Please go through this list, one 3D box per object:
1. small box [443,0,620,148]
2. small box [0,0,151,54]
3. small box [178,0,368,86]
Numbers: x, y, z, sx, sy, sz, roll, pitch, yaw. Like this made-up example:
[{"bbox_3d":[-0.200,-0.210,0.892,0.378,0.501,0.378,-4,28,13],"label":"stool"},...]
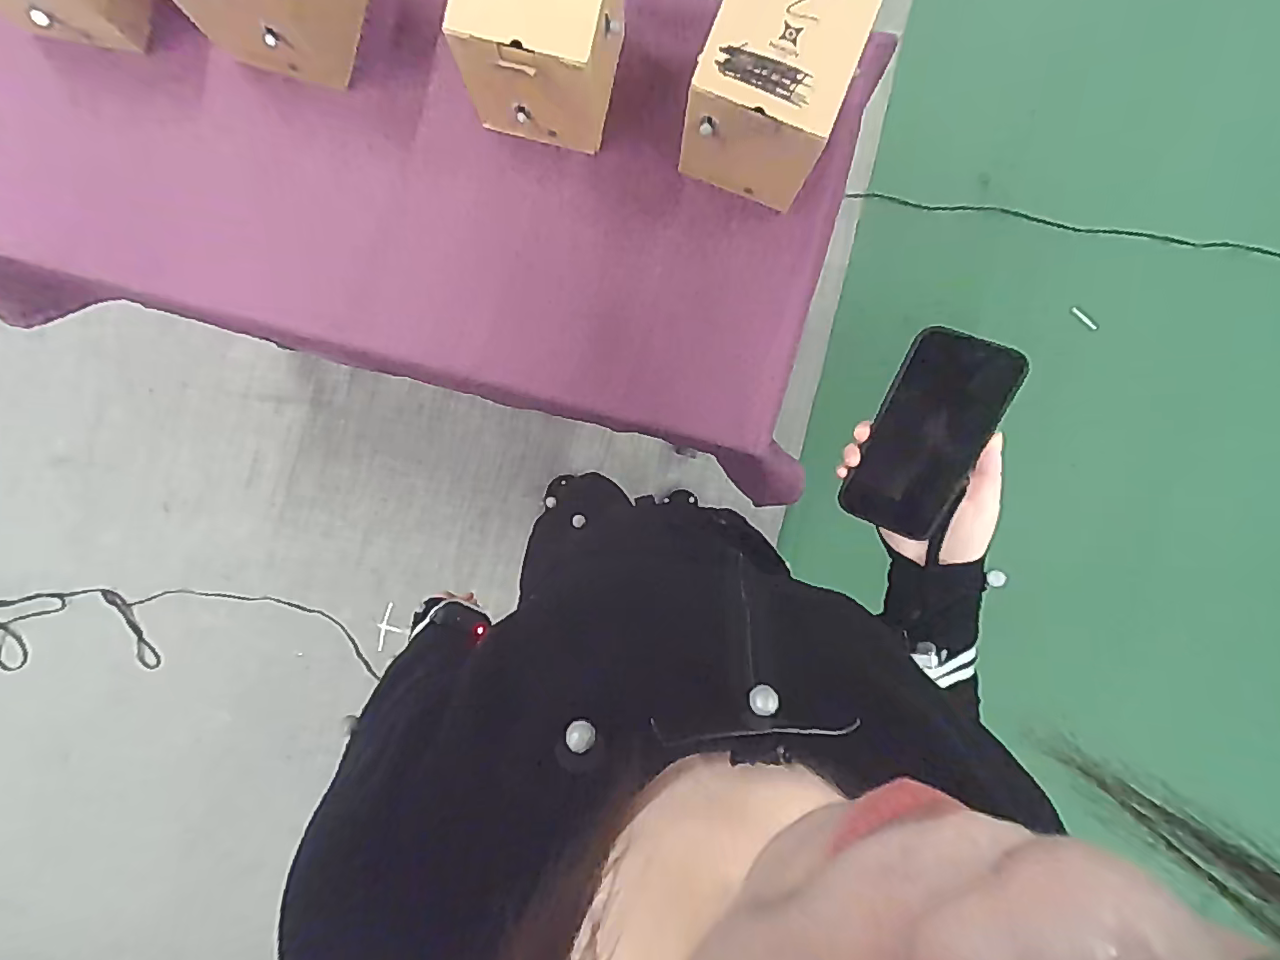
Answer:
[{"bbox_3d":[-0.121,-0.561,0.670,0.168,0.176,0.179,13,92,-1],"label":"small box"},{"bbox_3d":[-0.740,-0.678,0.655,0.168,0.176,0.179,9,91,-1],"label":"small box"},{"bbox_3d":[-0.461,-0.638,0.663,0.168,0.176,0.179,15,91,-3],"label":"small box"}]
